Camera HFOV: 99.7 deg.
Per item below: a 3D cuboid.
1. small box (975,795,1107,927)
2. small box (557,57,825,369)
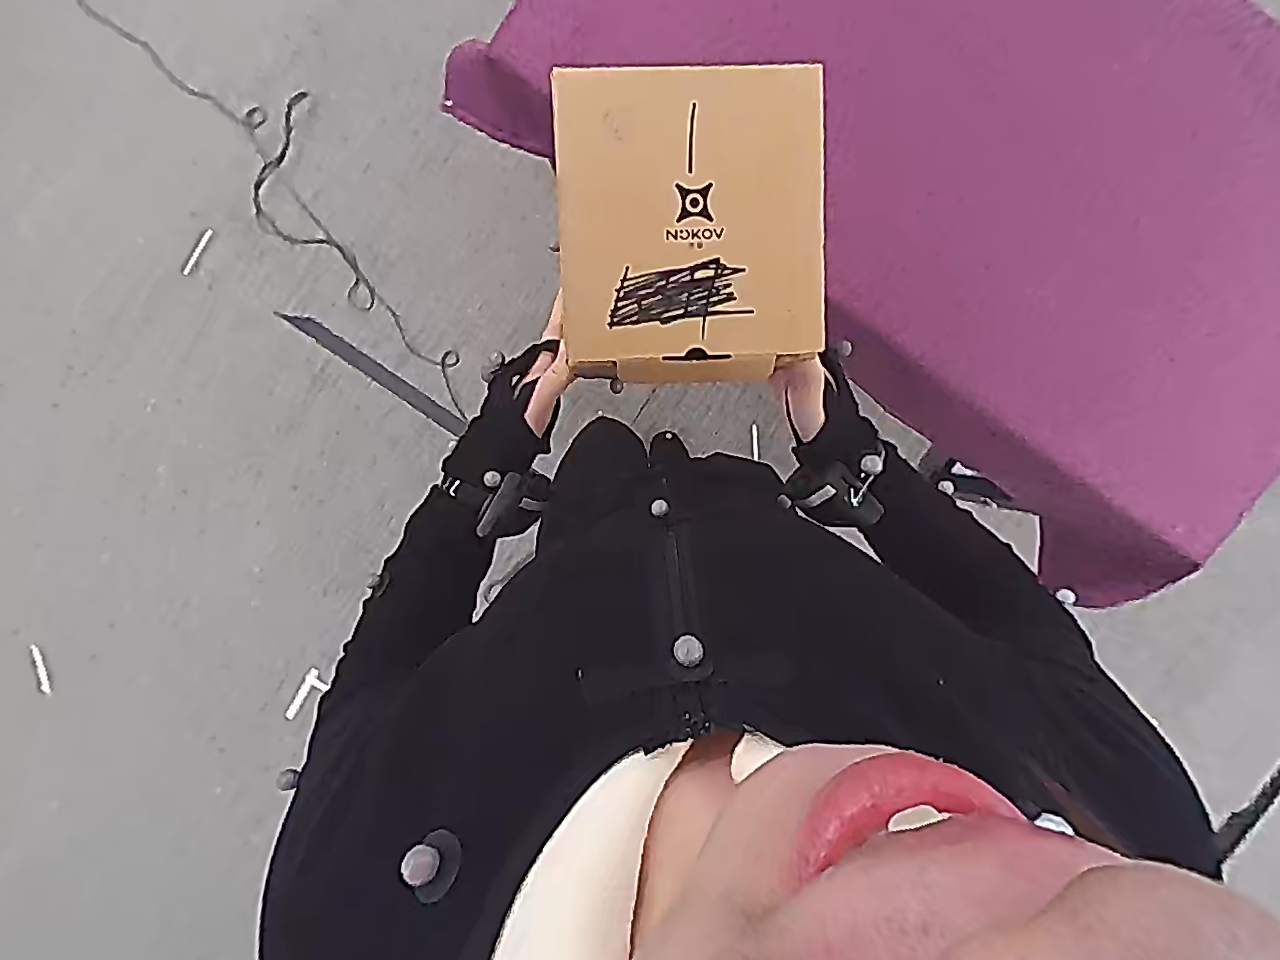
[{"bbox_3d":[0.928,0.885,1.270,0.168,0.176,0.179,13,98,4],"label":"small box"},{"bbox_3d":[0.029,-0.178,0.415,0.168,0.176,0.179,-1,97,-2],"label":"small box"}]
